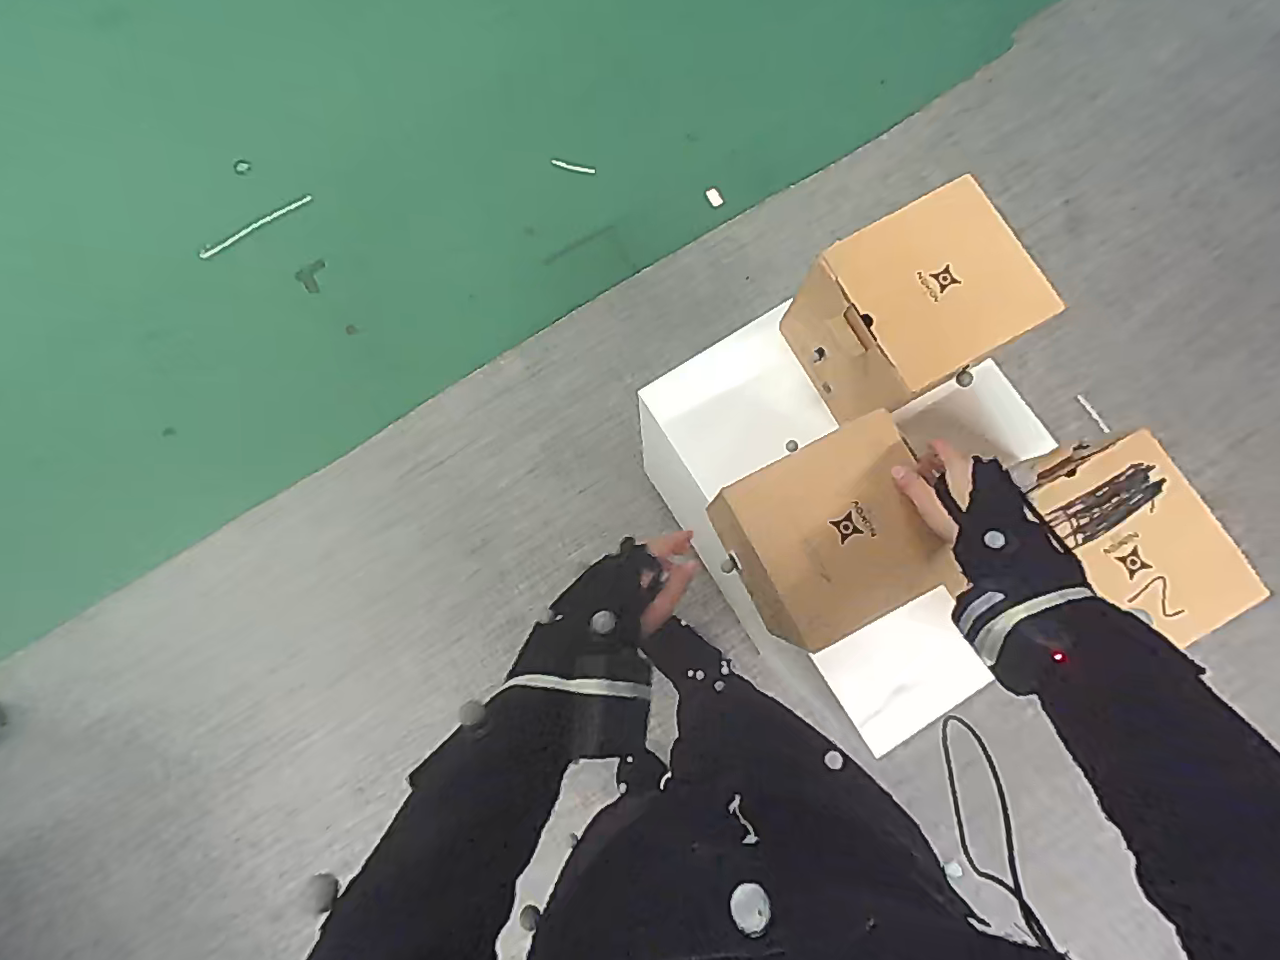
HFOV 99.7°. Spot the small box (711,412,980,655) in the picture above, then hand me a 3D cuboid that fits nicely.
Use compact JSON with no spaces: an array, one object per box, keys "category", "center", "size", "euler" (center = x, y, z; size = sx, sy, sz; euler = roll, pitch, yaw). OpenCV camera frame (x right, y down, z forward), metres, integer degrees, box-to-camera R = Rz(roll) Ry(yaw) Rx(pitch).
[{"category":"small box","center":[0.190,0.057,0.560],"size":[0.179,0.176,0.168],"euler":[-27,79,-3]}]

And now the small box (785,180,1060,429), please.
[{"category":"small box","center":[0.289,-0.177,0.598],"size":[0.179,0.176,0.168],"euler":[-29,82,-3]}]
